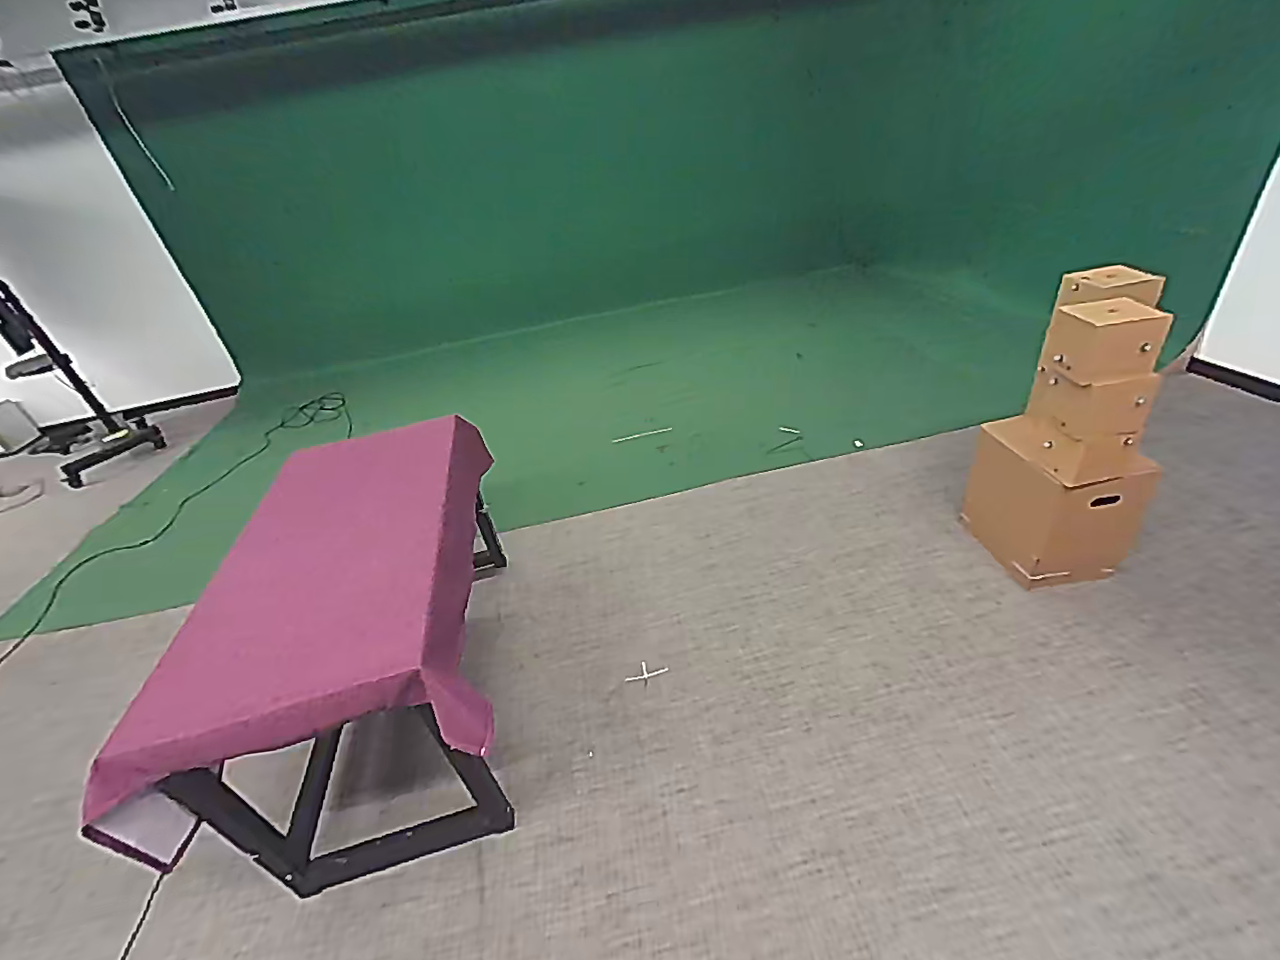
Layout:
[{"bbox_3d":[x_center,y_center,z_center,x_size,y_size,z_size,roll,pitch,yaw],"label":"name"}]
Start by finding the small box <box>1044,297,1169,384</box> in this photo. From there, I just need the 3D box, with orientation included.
[{"bbox_3d":[1.240,-0.374,1.455,0.179,0.176,0.168,-8,33,6],"label":"small box"}]

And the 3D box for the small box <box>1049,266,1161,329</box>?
[{"bbox_3d":[1.402,-0.534,1.646,0.179,0.176,0.168,-9,33,1],"label":"small box"}]

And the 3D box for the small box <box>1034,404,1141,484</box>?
[{"bbox_3d":[1.328,-0.105,1.624,0.179,0.176,0.168,-12,33,-1],"label":"small box"}]

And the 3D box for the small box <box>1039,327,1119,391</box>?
[{"bbox_3d":[1.421,-0.395,1.733,0.179,0.176,0.168,-5,34,7],"label":"small box"}]

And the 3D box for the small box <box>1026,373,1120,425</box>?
[{"bbox_3d":[1.445,-0.258,1.820,0.168,0.176,0.179,-7,34,6],"label":"small box"}]
